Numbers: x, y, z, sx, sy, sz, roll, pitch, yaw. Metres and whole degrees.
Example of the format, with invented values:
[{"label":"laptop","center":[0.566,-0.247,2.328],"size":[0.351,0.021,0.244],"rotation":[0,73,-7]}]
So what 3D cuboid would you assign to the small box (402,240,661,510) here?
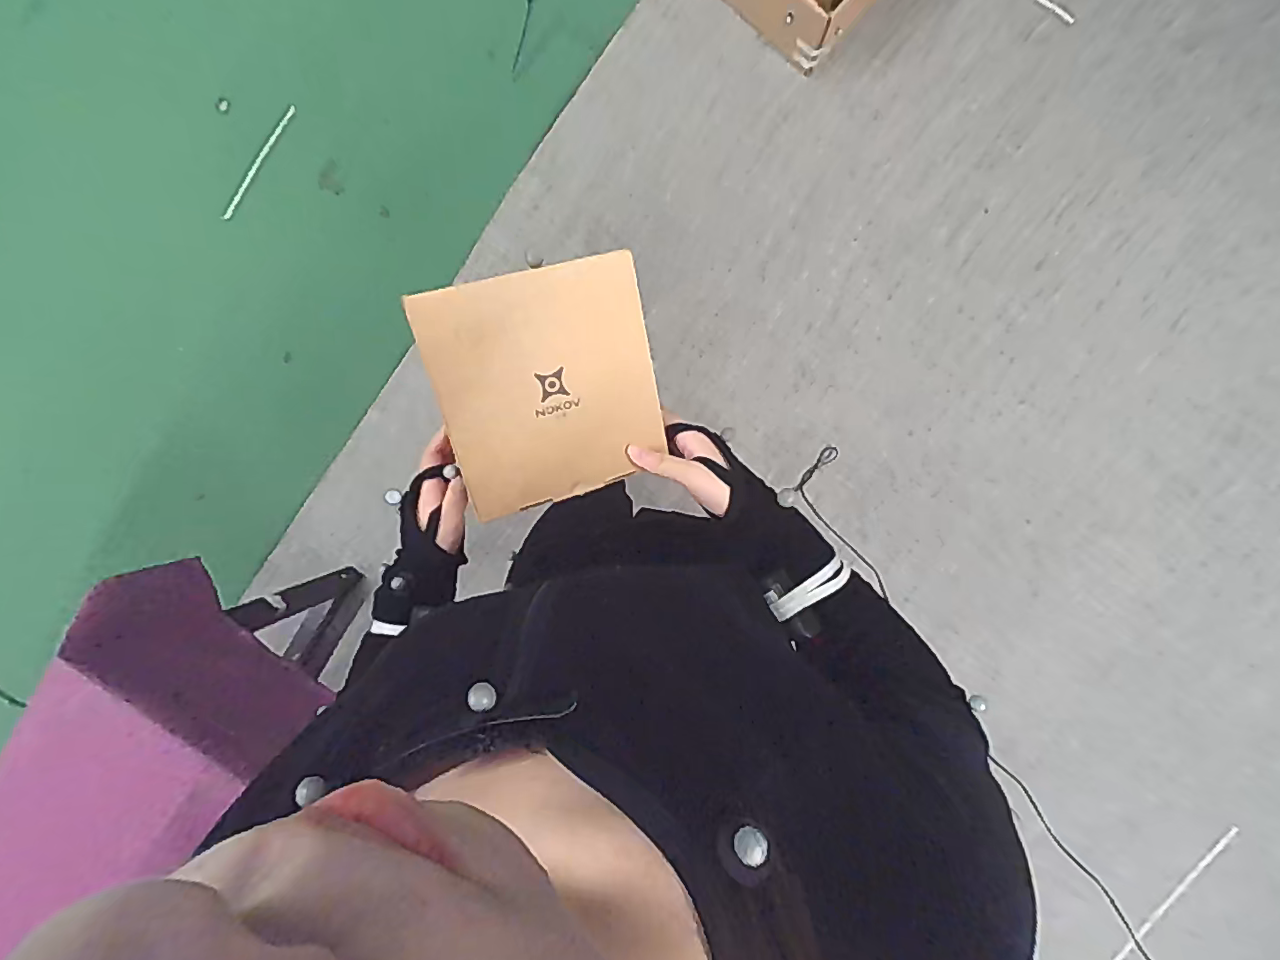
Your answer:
[{"label":"small box","center":[-0.098,-0.102,0.483],"size":[0.168,0.176,0.179],"rotation":[-18,115,-13]}]
